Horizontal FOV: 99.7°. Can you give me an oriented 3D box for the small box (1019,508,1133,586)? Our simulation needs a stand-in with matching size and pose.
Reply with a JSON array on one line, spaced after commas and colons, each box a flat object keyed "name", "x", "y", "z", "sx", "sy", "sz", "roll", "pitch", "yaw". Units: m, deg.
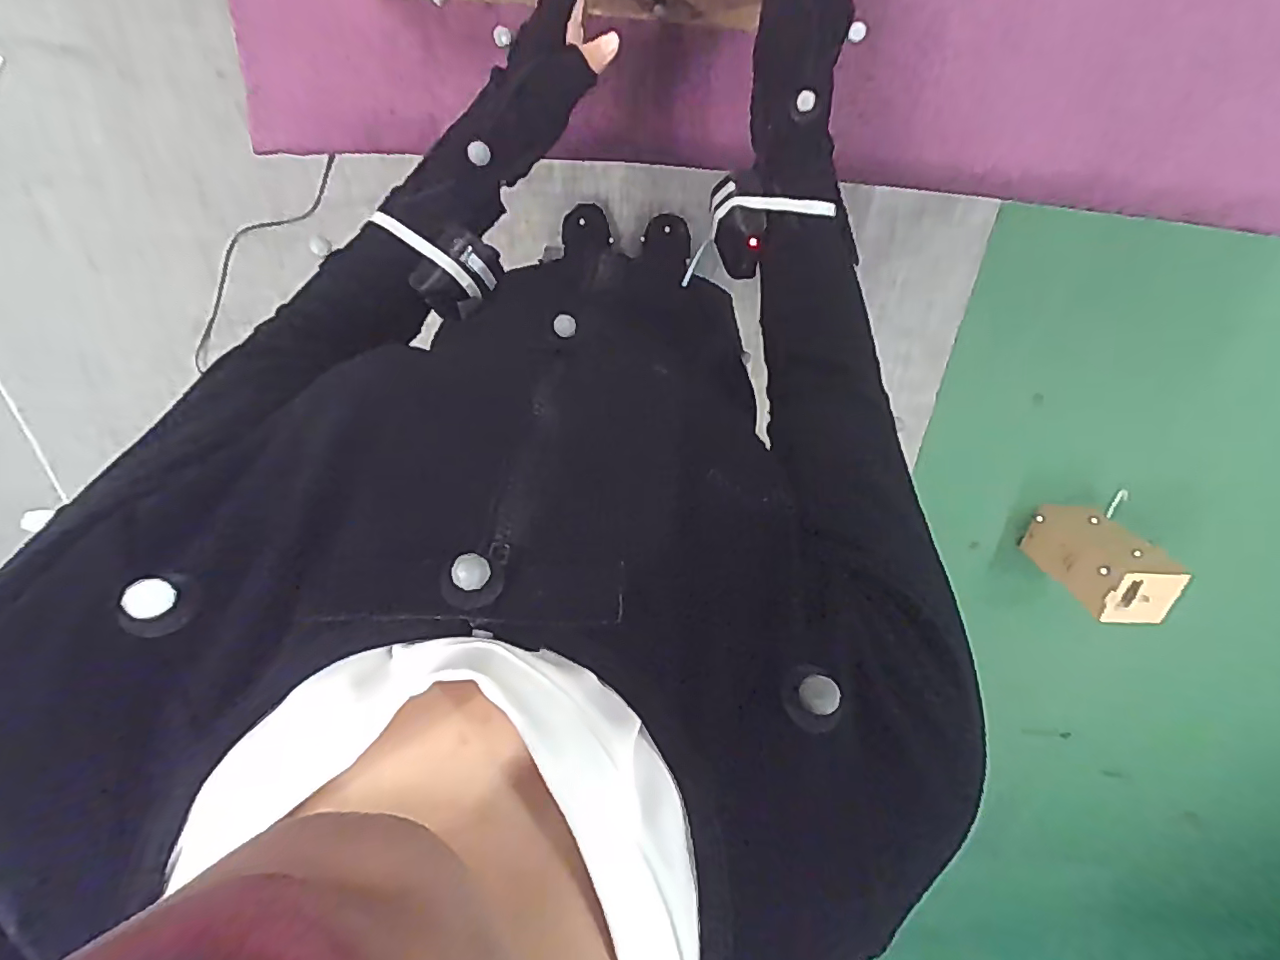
[{"name": "small box", "x": 1.296, "y": 0.197, "z": 1.624, "sx": 0.179, "sy": 0.176, "sz": 0.168, "roll": 3, "pitch": 119, "yaw": -3}]

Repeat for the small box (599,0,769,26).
[{"name": "small box", "x": 0.039, "y": -0.491, "z": 0.417, "sx": 0.168, "sy": 0.176, "sz": 0.179, "roll": 4, "pitch": 119, "yaw": -3}]
